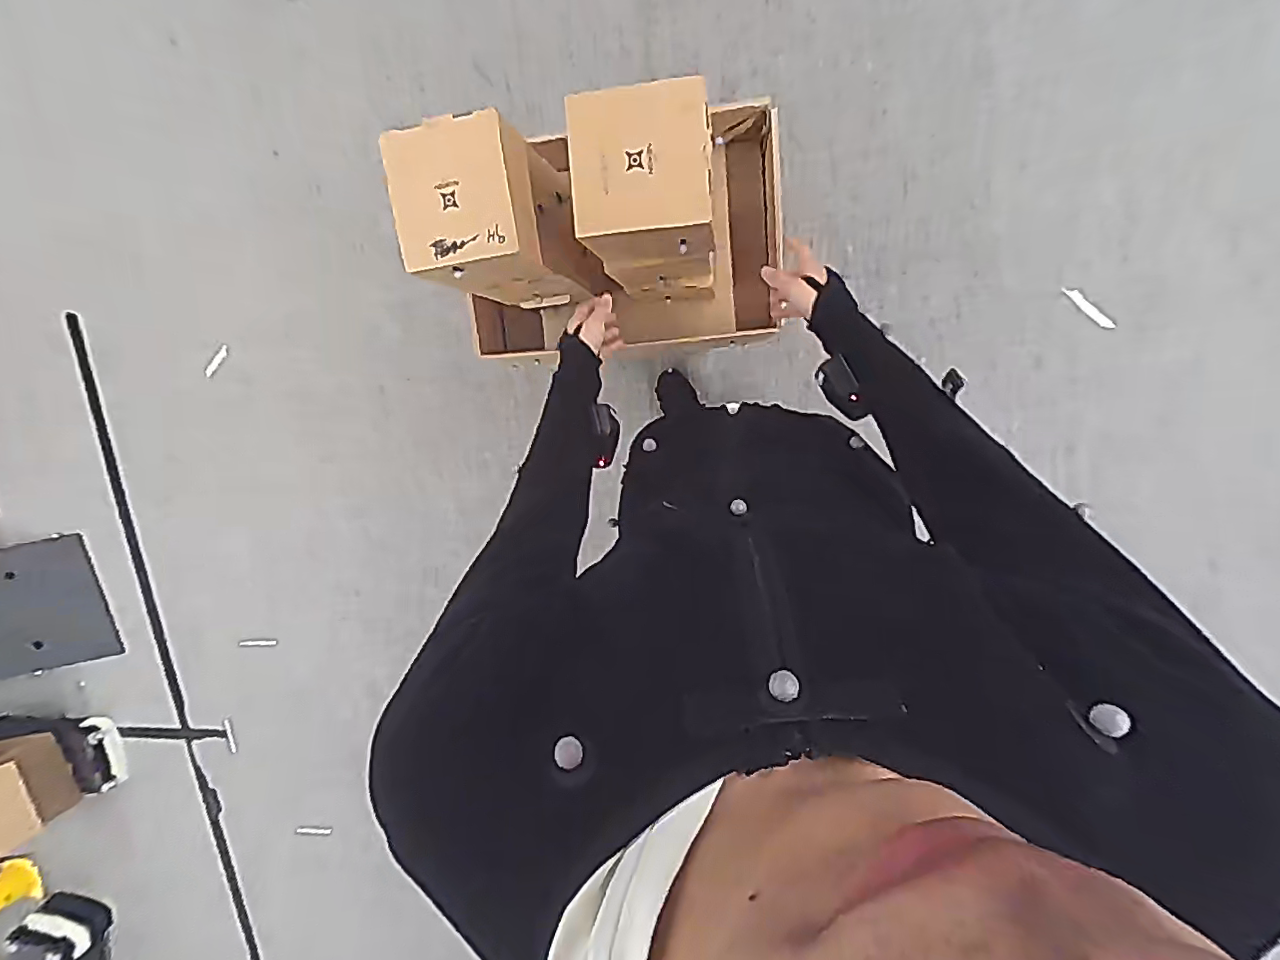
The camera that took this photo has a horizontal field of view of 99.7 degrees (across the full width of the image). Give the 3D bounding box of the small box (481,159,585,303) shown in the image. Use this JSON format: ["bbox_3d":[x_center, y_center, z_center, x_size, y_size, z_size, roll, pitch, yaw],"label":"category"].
[{"bbox_3d":[-0.202,-0.415,0.932,0.168,0.176,0.179,-5,100,10],"label":"small box"}]

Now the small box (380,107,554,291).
[{"bbox_3d":[-0.234,-0.384,0.772,0.168,0.176,0.179,-5,99,11],"label":"small box"}]

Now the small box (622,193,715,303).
[{"bbox_3d":[0.059,-0.450,1.054,0.168,0.176,0.179,-1,101,10],"label":"small box"}]

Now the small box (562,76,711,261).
[{"bbox_3d":[0.007,-0.404,0.734,0.179,0.176,0.168,-1,101,11],"label":"small box"}]
